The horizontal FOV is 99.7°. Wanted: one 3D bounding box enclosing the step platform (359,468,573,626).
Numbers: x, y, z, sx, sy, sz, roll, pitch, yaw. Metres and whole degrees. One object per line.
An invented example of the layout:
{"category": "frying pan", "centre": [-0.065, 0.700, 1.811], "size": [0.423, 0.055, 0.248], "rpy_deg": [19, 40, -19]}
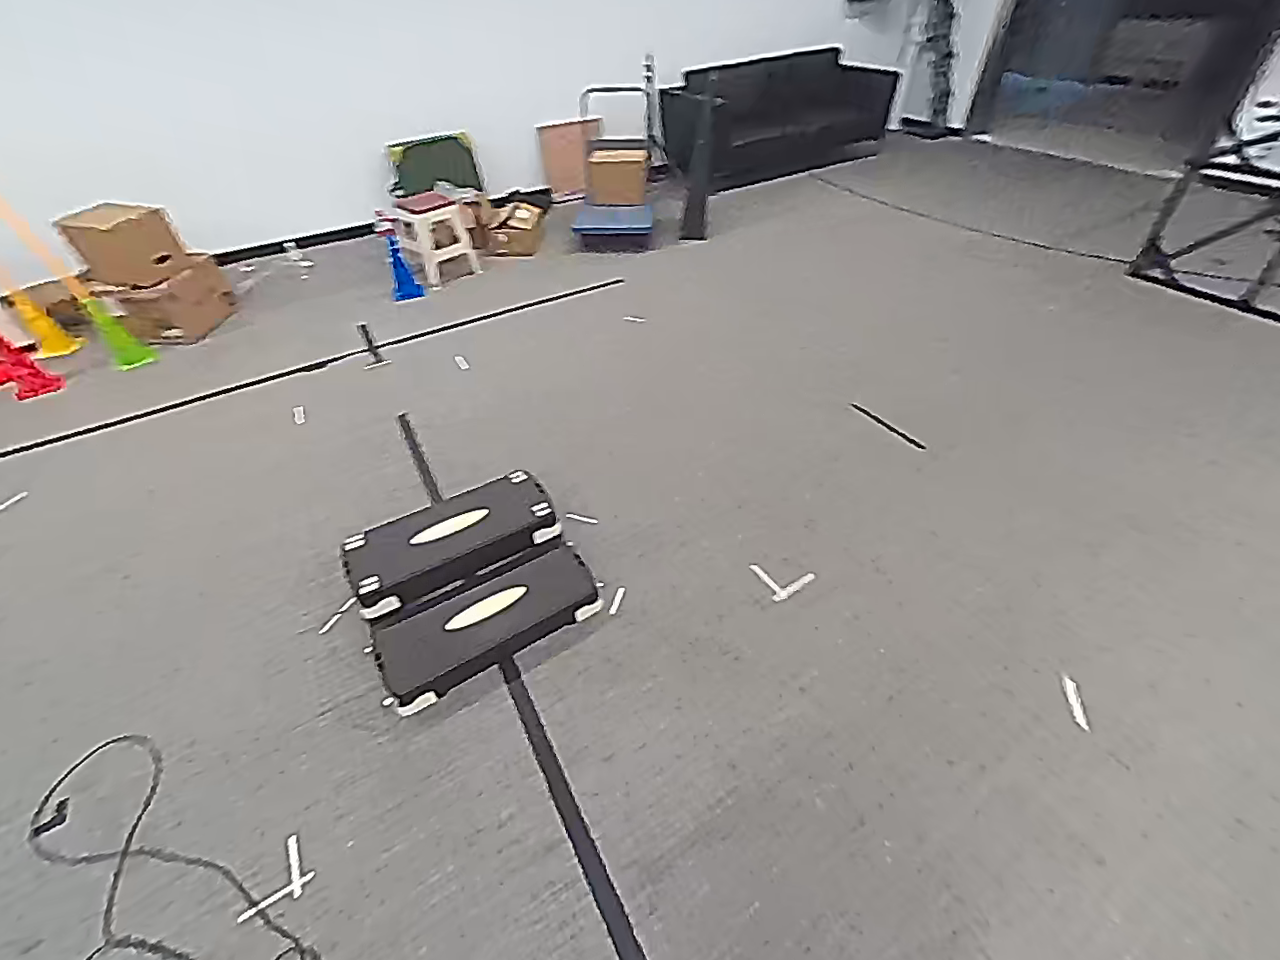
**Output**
{"category": "step platform", "centre": [-0.583, 0.207, 1.855], "size": [0.684, 0.204, 0.286], "rpy_deg": [-24, 47, -22]}
